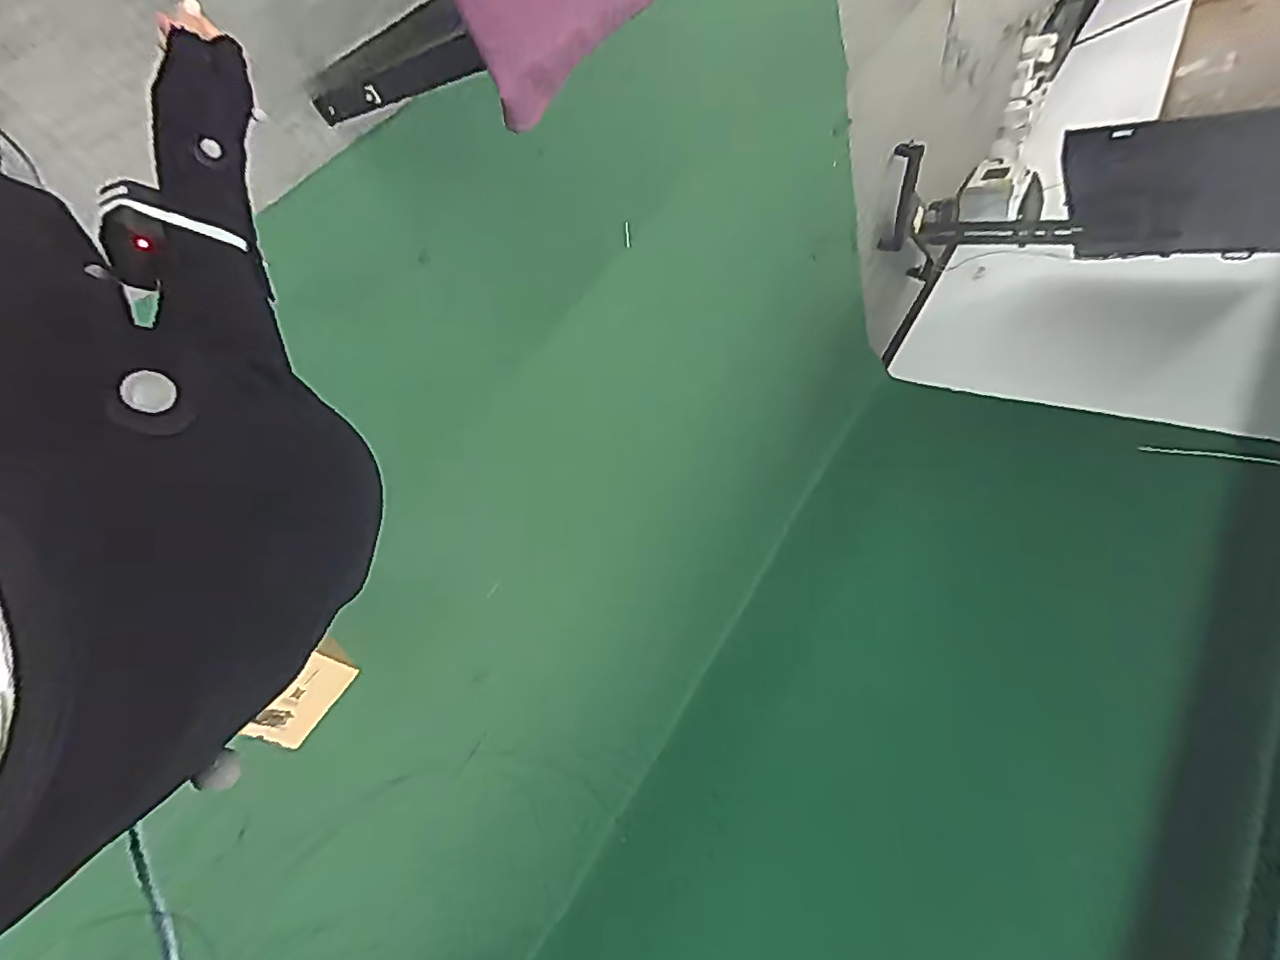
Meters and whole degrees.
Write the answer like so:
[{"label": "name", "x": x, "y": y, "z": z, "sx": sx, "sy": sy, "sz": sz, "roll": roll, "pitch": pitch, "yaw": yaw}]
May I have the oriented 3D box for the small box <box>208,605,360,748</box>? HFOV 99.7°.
[{"label": "small box", "x": -0.706, "y": 0.383, "z": 1.067, "sx": 0.179, "sy": 0.176, "sz": 0.168, "roll": -51, "pitch": 140, "yaw": -20}]
